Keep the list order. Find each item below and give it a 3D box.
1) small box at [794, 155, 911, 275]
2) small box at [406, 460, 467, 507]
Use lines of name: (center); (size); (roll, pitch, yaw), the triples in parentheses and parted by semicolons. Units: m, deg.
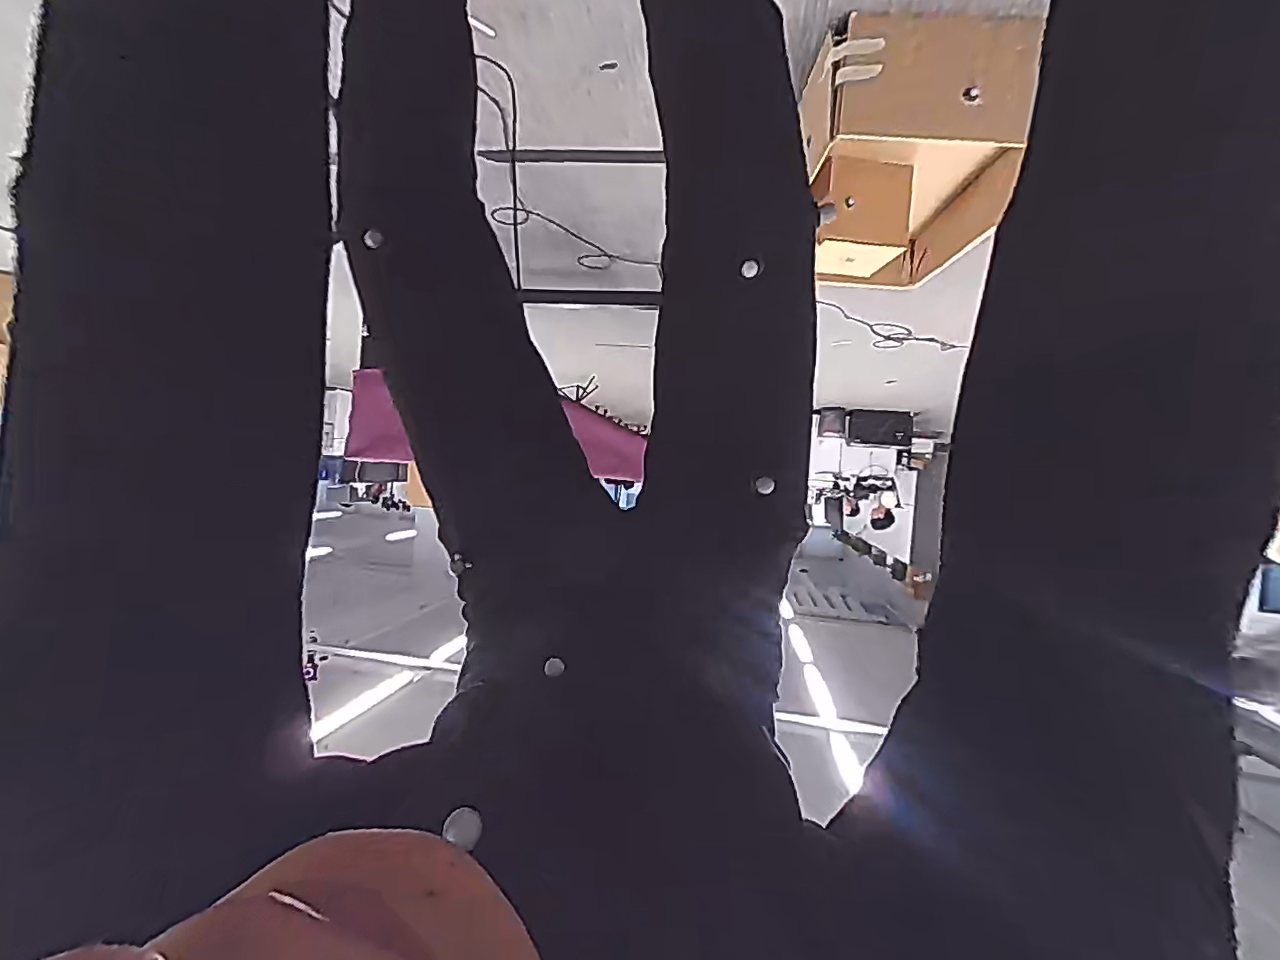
small box: (0.447, -0.559, 1.149); (0.179, 0.176, 0.168); (4, -179, -5)
small box: (-0.793, 0.010, 2.116); (0.179, 0.176, 0.168); (4, -178, 7)
